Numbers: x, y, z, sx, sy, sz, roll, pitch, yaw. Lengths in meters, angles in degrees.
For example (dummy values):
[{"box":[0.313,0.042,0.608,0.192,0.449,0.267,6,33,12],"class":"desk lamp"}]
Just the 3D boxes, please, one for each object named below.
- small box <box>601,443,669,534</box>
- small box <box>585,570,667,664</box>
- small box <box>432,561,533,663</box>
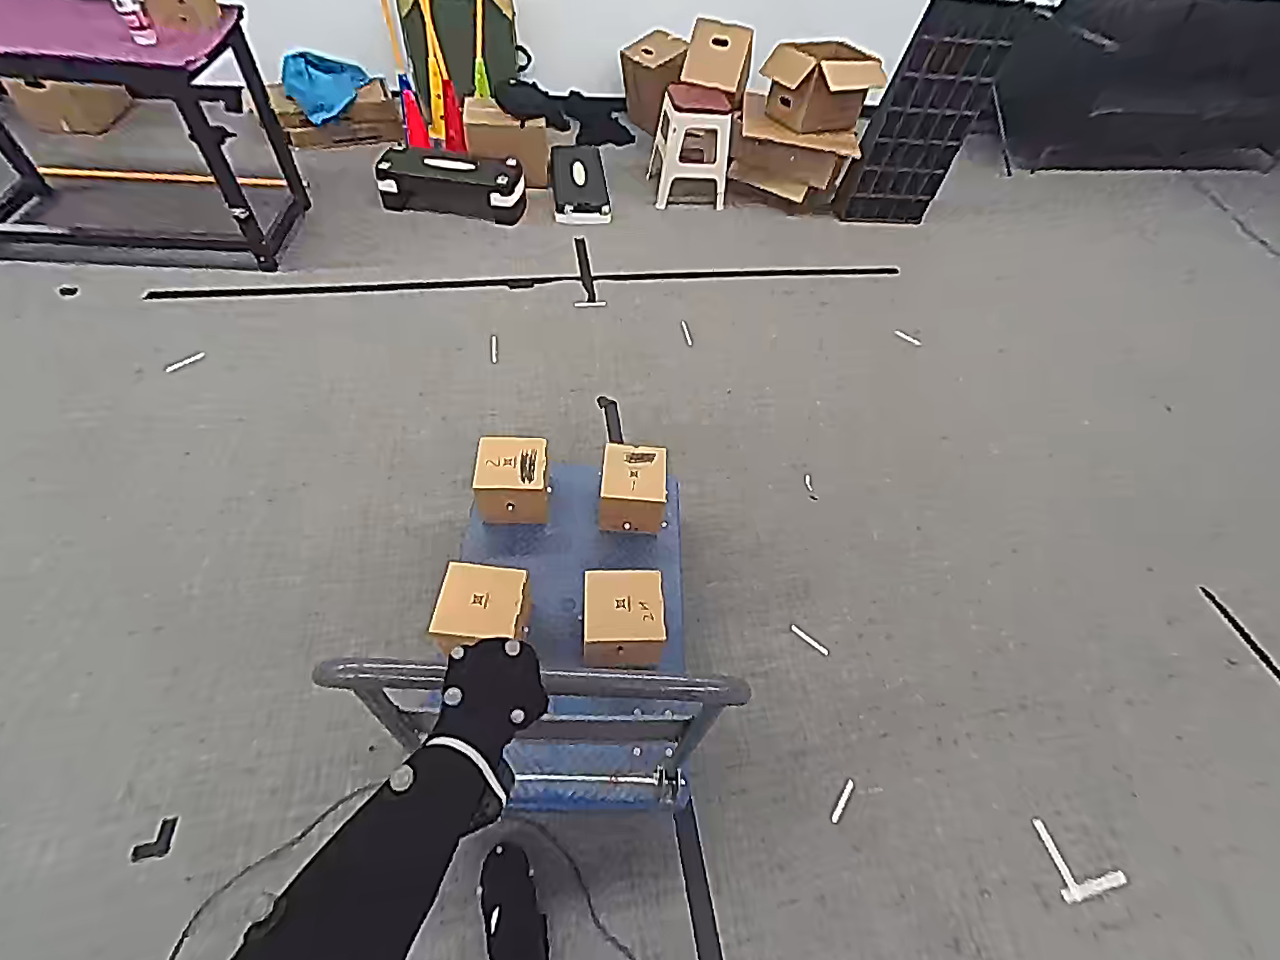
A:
[{"box":[-0.015,0.025,1.464,0.168,0.176,0.179,5,54,-3],"class":"small box"},{"box":[-0.038,0.319,1.246,0.179,0.176,0.168,1,54,-6],"class":"small box"},{"box":[-0.346,0.302,1.222,0.179,0.176,0.168,8,53,-3],"class":"small box"}]
